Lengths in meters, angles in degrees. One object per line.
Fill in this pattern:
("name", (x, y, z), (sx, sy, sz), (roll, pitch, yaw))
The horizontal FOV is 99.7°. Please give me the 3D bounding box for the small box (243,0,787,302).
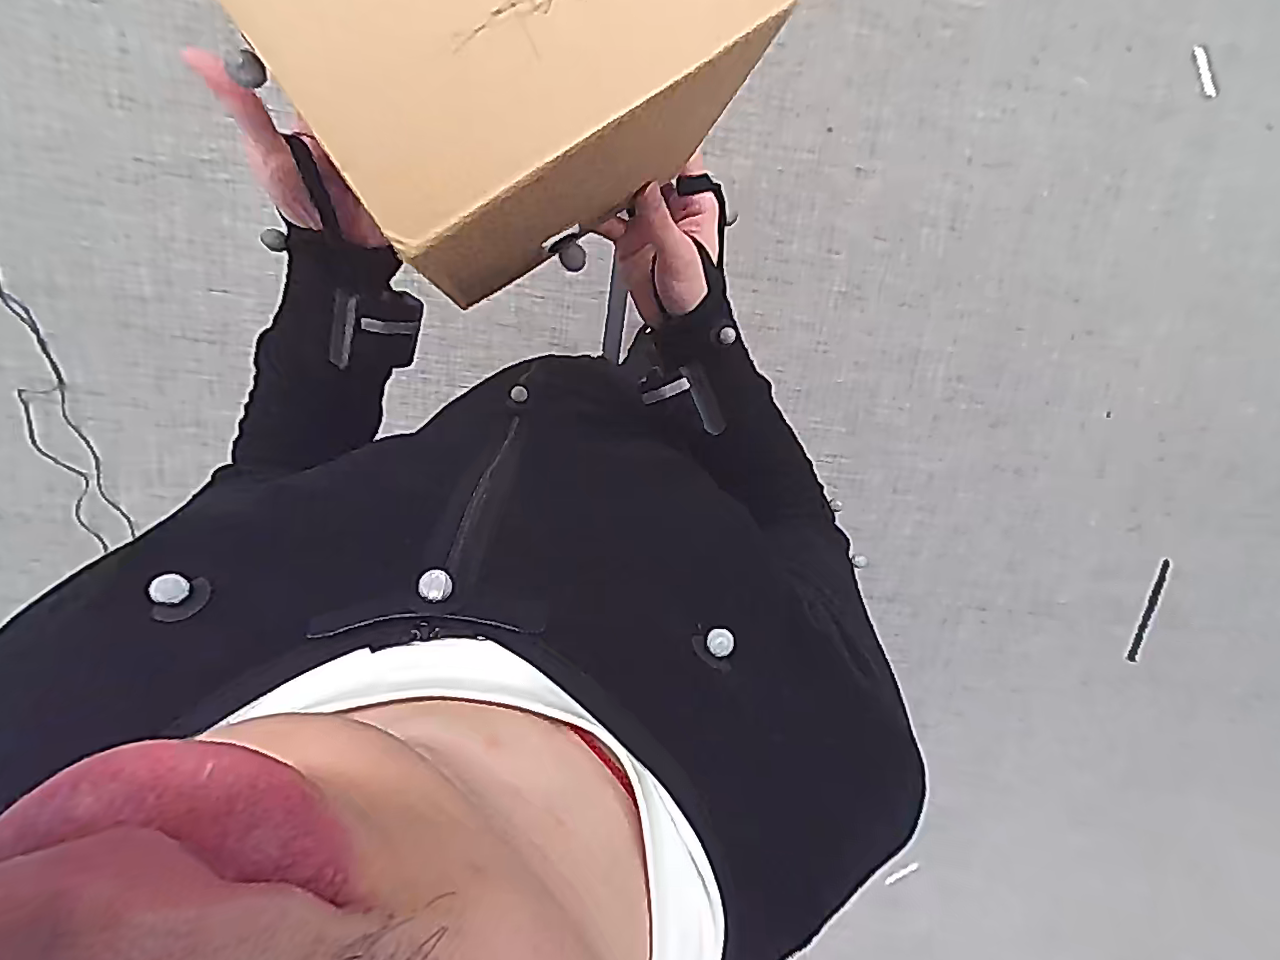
("small box", (-0.071, -0.208, 0.253), (0.168, 0.176, 0.179), (-36, 105, -2))
